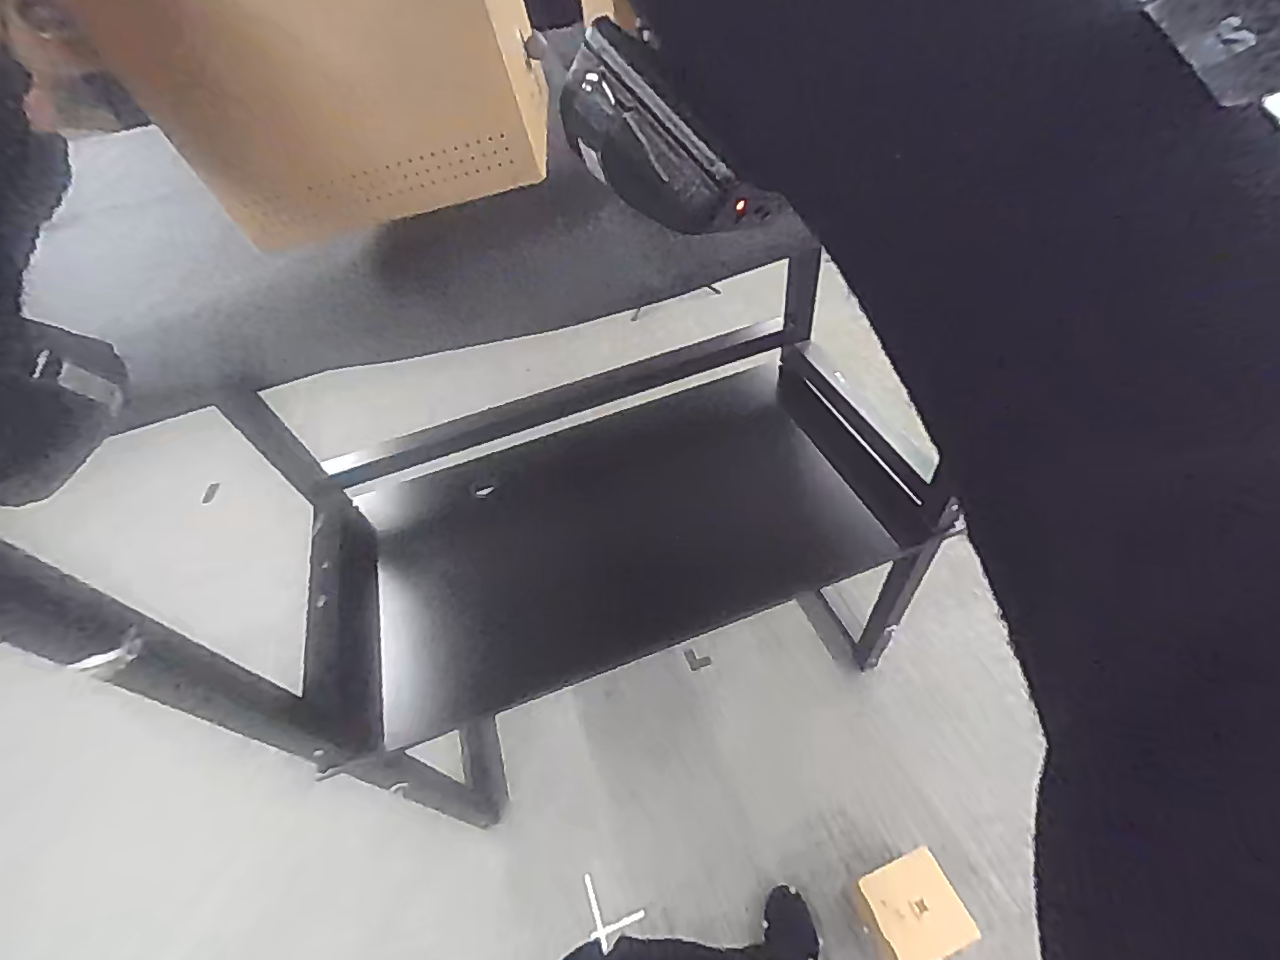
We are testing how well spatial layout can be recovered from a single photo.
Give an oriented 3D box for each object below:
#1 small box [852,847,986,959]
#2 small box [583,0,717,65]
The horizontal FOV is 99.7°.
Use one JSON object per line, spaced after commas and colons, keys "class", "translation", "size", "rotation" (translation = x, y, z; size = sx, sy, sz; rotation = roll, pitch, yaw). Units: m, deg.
{"class": "small box", "translation": [0.584, 0.919, 1.158], "size": [0.179, 0.176, 0.168], "rotation": [-21, 50, -7]}
{"class": "small box", "translation": [0.023, -0.587, 0.599], "size": [0.168, 0.176, 0.179], "rotation": [-17, 49, -5]}
